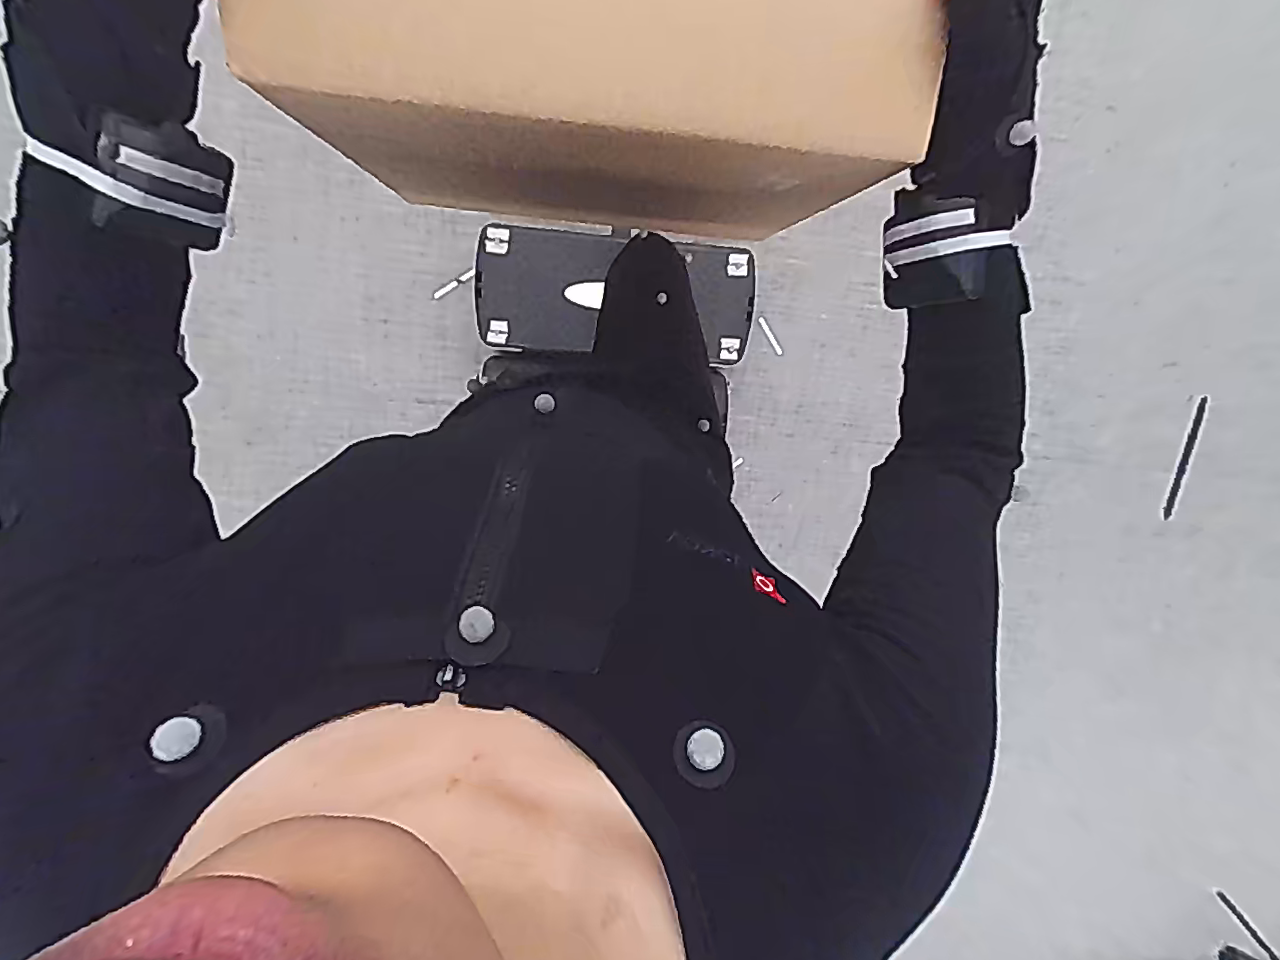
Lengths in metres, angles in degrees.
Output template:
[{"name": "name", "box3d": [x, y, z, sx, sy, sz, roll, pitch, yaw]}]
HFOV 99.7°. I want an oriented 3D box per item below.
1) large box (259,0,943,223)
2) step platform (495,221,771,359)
[{"name": "large box", "box3d": [-0.024, -0.411, 0.430, 0.408, 0.320, 0.320, 2, 106, -7]}, {"name": "step platform", "box3d": [-0.018, -0.473, 1.374, 0.684, 0.204, 0.286, 2, 104, -6]}]
